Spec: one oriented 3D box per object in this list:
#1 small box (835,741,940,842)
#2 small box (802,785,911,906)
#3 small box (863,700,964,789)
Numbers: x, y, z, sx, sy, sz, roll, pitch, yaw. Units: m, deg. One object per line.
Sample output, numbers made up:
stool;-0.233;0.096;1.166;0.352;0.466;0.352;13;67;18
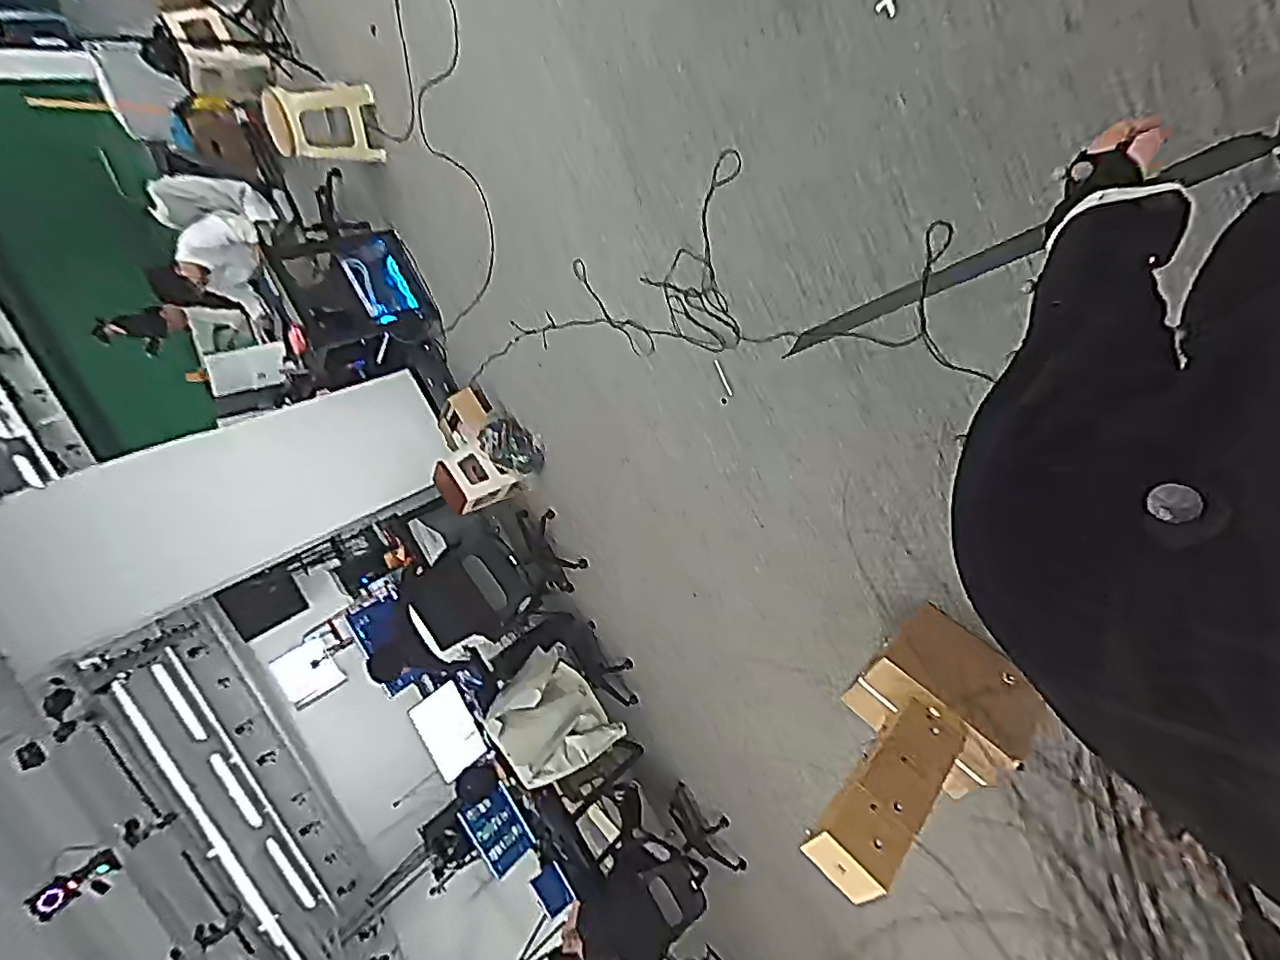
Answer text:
small box;0.658;0.837;1.438;0.168;0.176;0.179;39;141;26
small box;0.541;0.902;1.345;0.168;0.176;0.179;39;141;26
small box;0.775;0.766;1.529;0.168;0.176;0.179;39;140;26
